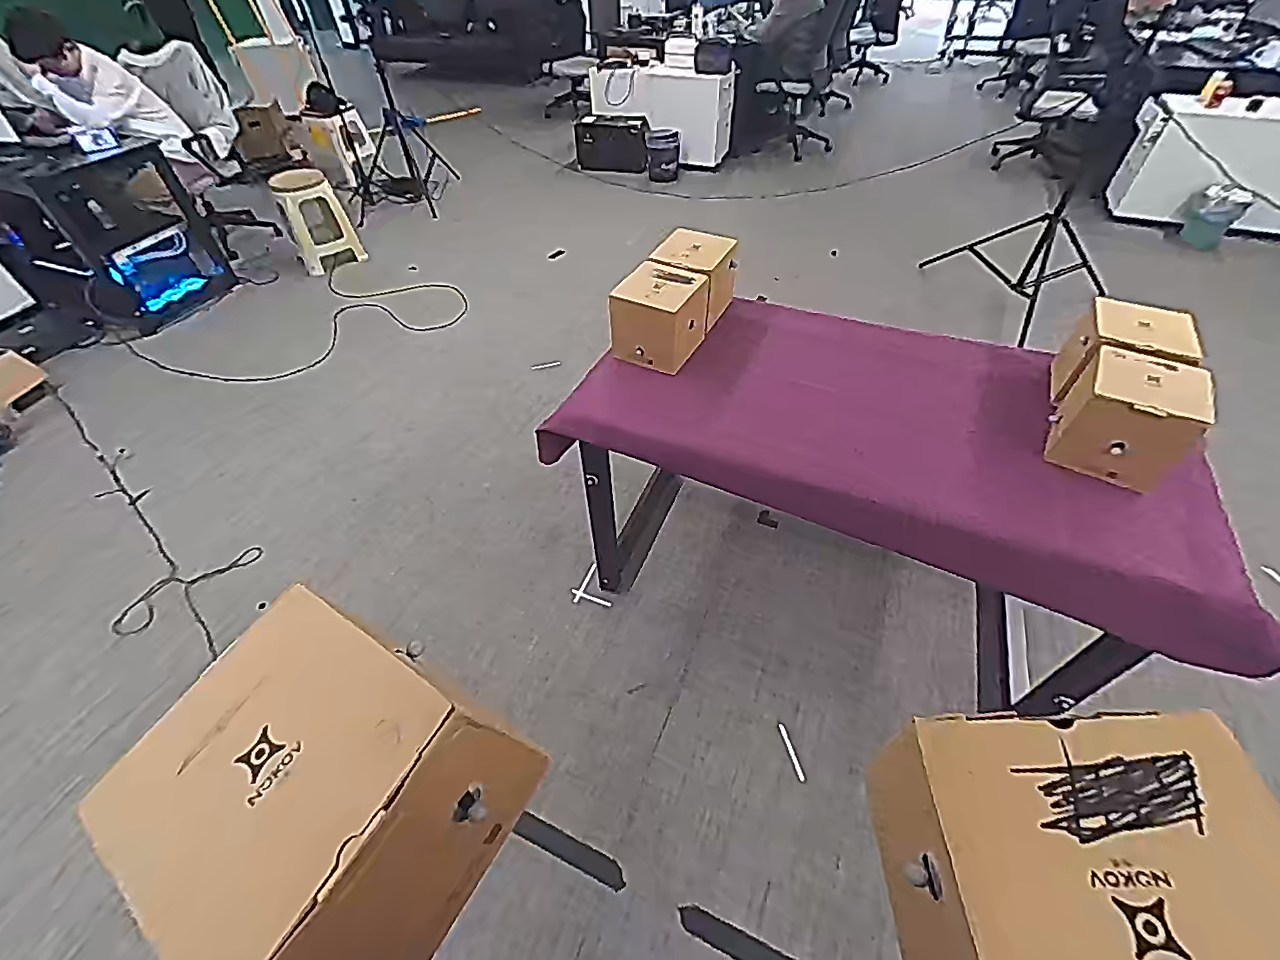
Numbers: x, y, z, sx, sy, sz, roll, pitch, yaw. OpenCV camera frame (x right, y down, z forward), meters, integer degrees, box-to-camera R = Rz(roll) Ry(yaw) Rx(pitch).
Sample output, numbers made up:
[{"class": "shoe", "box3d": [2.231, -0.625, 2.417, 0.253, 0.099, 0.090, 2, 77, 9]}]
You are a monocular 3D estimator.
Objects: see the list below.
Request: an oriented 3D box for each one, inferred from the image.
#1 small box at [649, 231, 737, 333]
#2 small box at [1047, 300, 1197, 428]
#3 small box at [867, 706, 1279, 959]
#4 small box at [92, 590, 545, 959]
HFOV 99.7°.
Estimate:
[{"class": "small box", "box3d": [0.131, -0.502, 1.372, 0.168, 0.176, 0.179, 20, 52, 19]}, {"class": "small box", "box3d": [0.971, -0.238, 1.109, 0.168, 0.176, 0.179, 21, 51, 19]}, {"class": "small box", "box3d": [0.253, 0.253, 0.329, 0.168, 0.176, 0.179, -5, 53, 7]}, {"class": "small box", "box3d": [-0.196, 0.211, 0.378, 0.179, 0.176, 0.168, 20, 60, 28]}]
